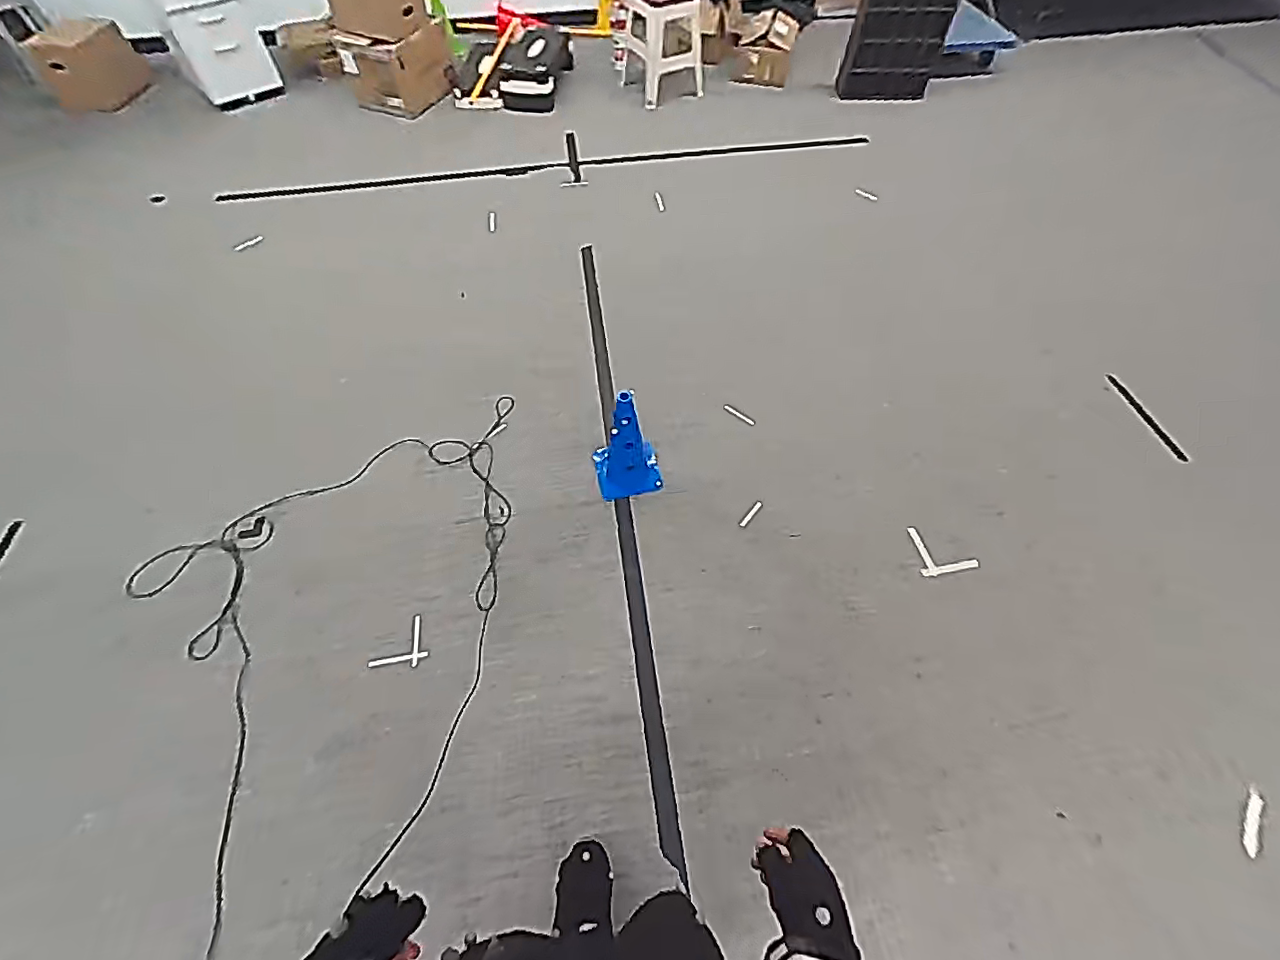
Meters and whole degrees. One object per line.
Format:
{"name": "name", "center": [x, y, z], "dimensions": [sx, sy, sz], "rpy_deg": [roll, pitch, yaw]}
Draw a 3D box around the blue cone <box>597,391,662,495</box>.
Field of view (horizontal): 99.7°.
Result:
{"name": "blue cone", "center": [-0.034, -0.126, 1.621], "dimensions": [0.192, 0.380, 0.193], "rpy_deg": [-9, 58, -7]}
